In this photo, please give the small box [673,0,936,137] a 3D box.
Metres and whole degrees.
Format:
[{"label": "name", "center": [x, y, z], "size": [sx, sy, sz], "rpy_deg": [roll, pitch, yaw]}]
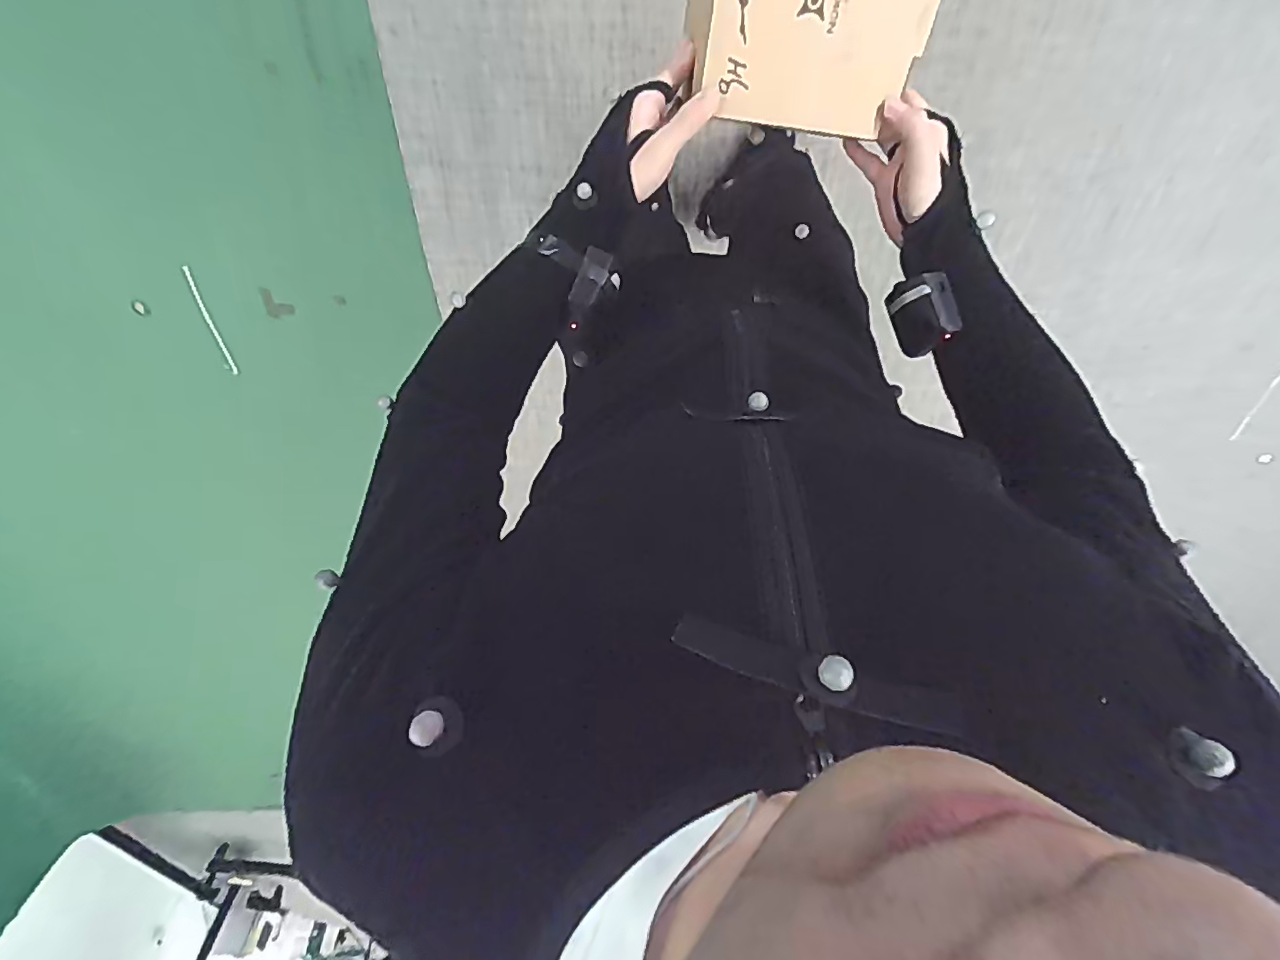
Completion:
[{"label": "small box", "center": [0.136, -0.414, 0.477], "size": [0.179, 0.176, 0.168], "rpy_deg": [3, 122, -8]}]
